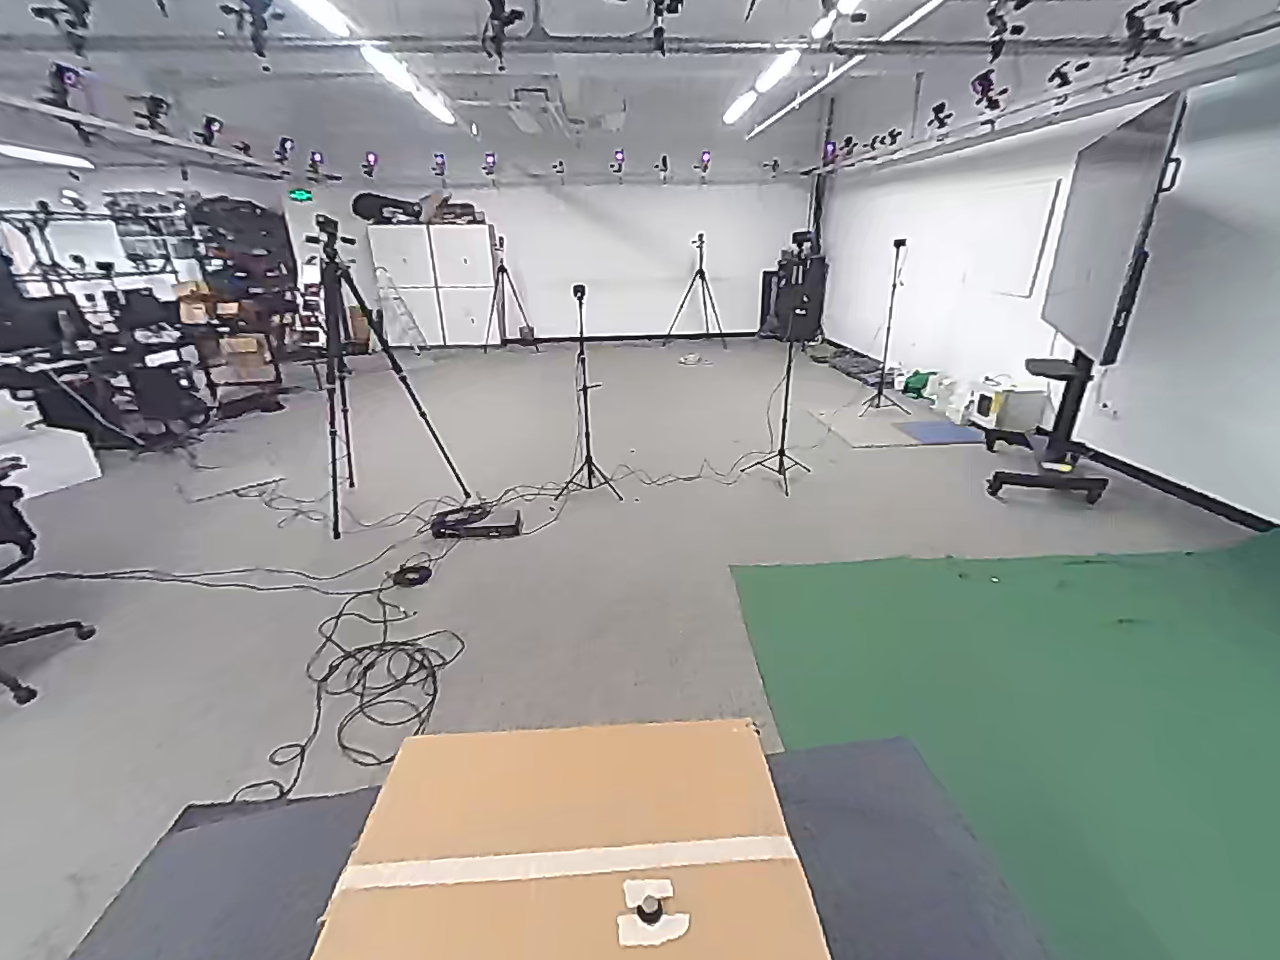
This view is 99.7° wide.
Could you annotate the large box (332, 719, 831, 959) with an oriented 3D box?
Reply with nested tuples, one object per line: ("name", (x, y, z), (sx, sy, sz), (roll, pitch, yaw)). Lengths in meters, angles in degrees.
("large box", (-0.052, 0.490, 0.555), (0.408, 0.320, 0.320), (-2, 23, -3))
